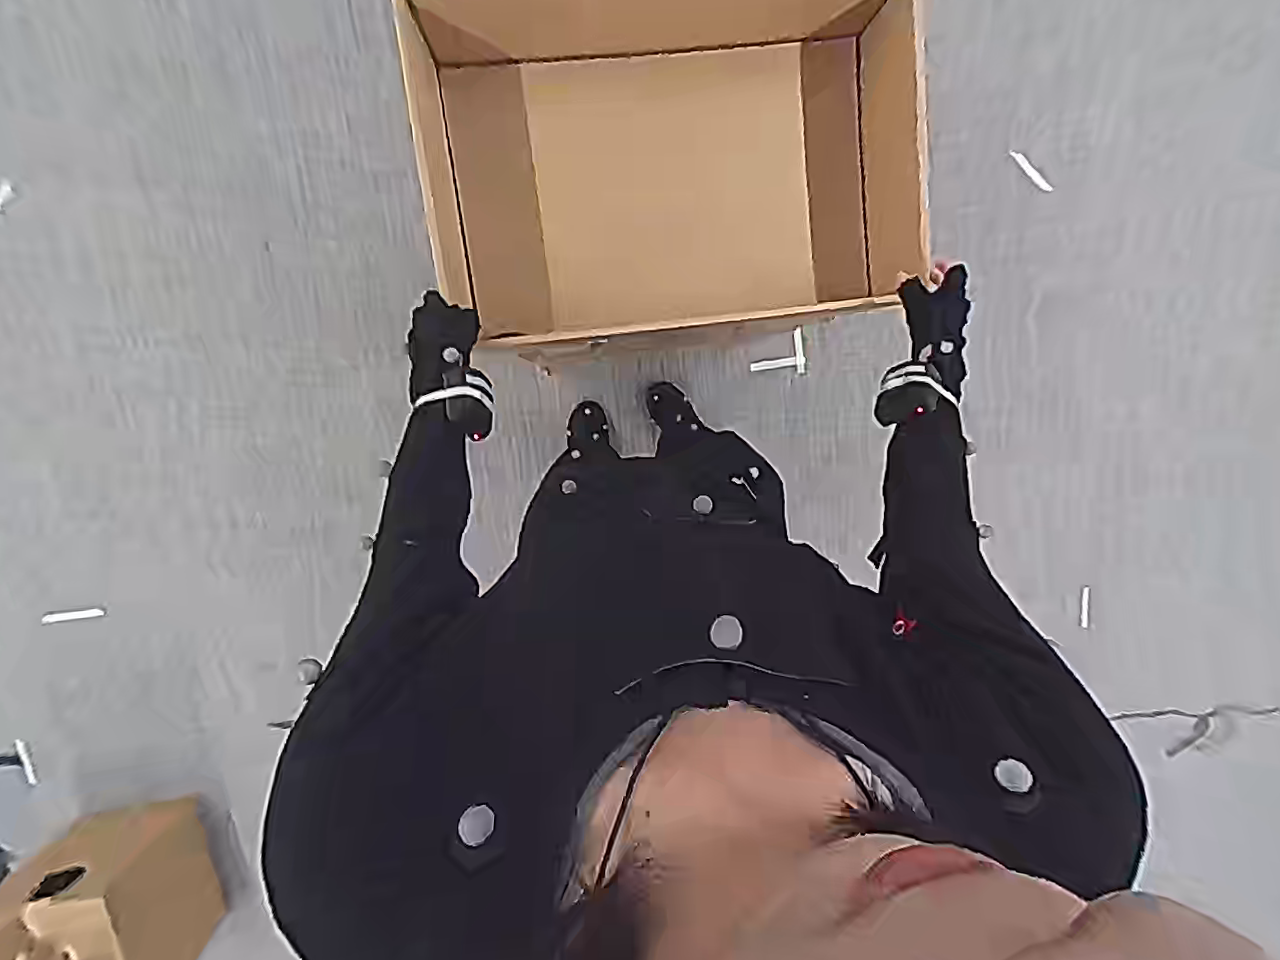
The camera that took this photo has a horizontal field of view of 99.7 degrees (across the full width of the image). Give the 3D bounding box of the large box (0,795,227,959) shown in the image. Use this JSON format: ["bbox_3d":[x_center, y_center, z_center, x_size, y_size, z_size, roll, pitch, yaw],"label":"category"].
[{"bbox_3d":[-1.373,1.125,1.403,0.320,0.320,0.408,-9,99,-5],"label":"large box"}]
